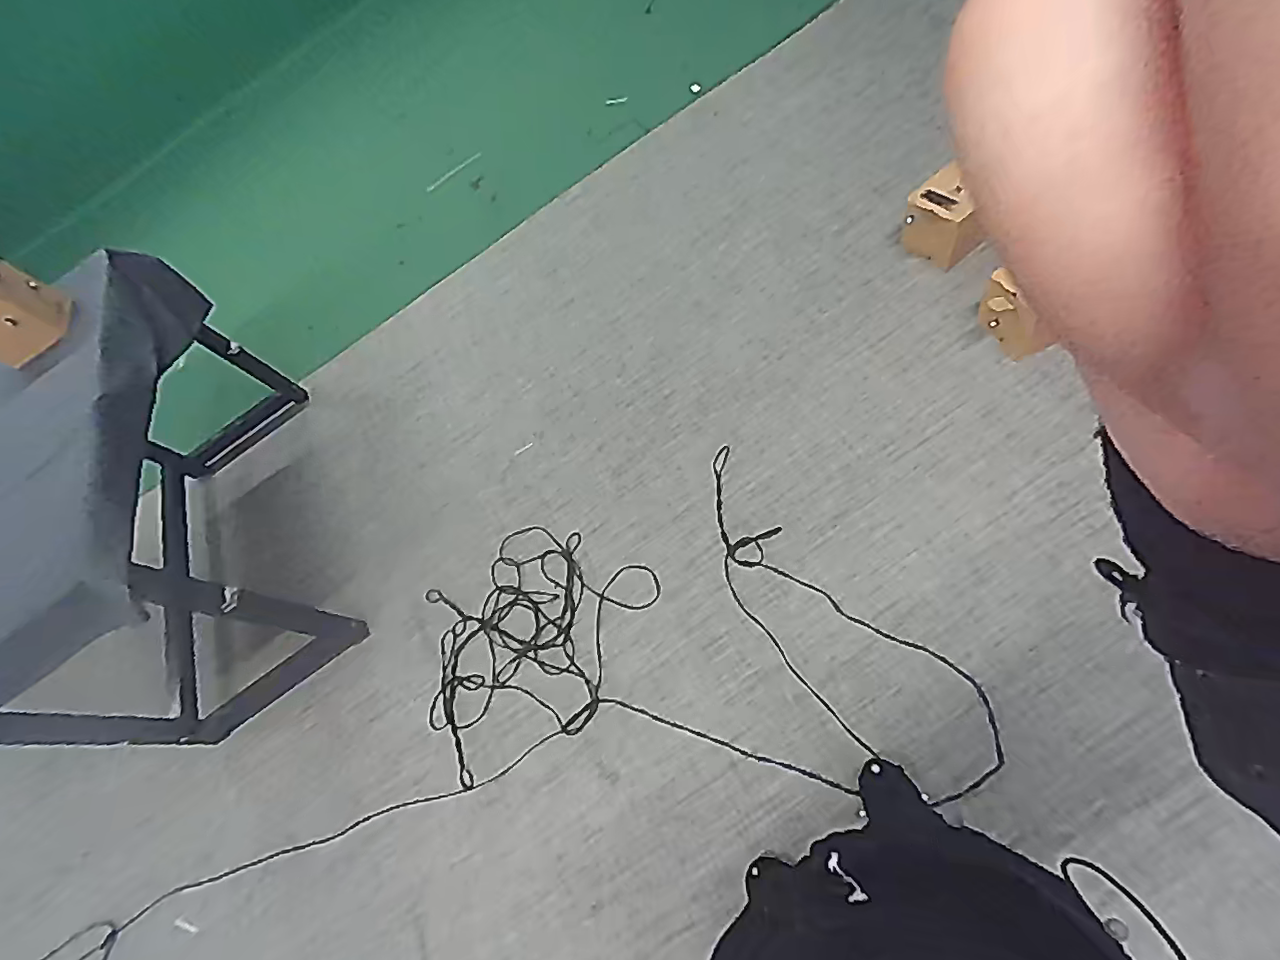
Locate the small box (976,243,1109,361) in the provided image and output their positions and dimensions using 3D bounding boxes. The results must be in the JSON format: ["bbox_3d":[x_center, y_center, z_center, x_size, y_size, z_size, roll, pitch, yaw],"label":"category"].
[{"bbox_3d":[0.957,-0.424,1.306,0.179,0.176,0.168,-26,59,7],"label":"small box"}]

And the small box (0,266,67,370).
[{"bbox_3d":[-1.644,-0.421,1.392,0.179,0.176,0.168,-34,58,3],"label":"small box"}]
